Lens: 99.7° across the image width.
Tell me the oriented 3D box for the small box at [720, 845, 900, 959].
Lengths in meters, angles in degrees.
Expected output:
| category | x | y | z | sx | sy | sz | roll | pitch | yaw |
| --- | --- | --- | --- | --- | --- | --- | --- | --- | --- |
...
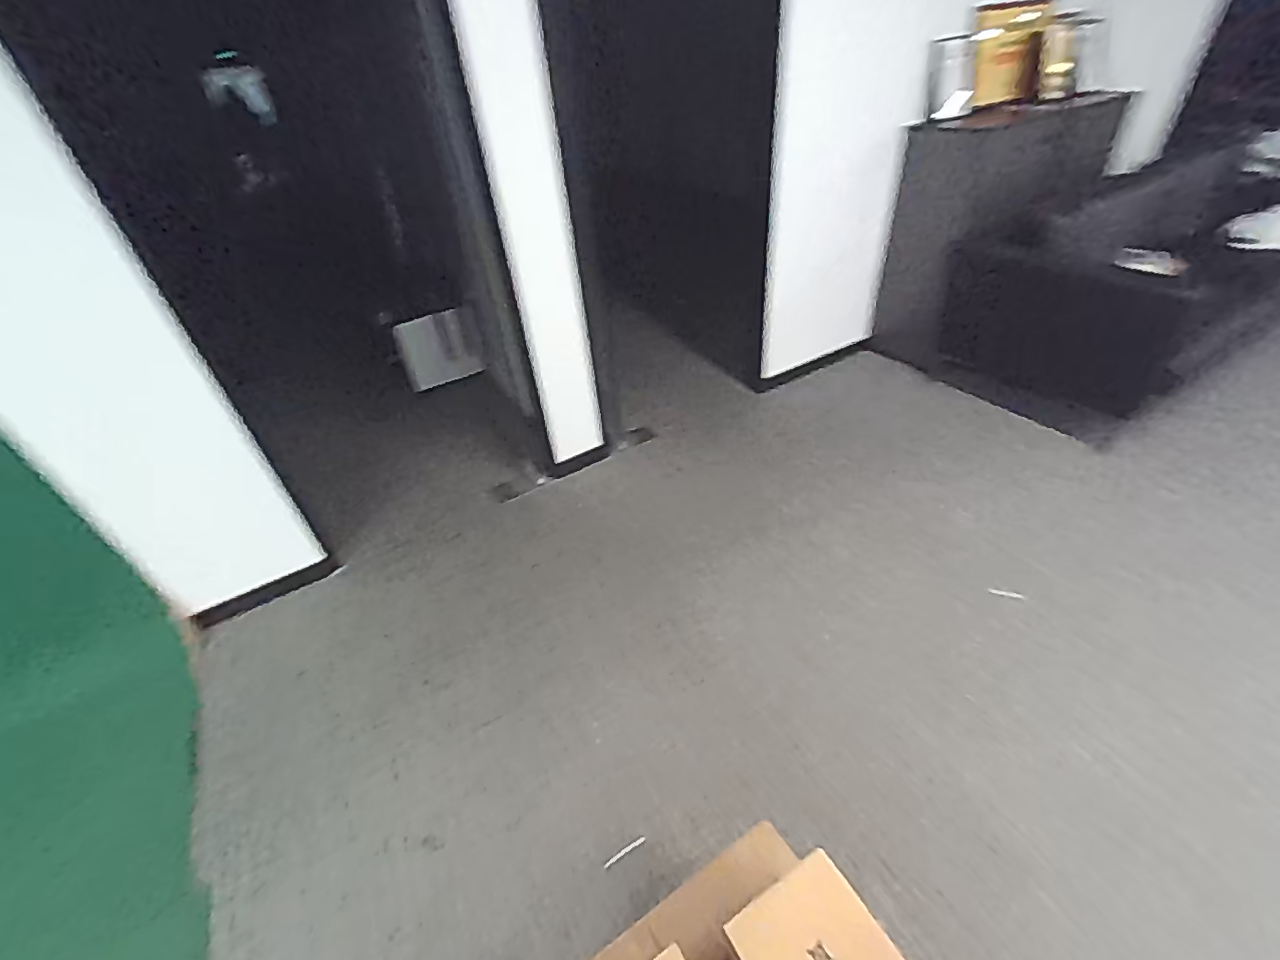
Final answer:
| category | x | y | z | sx | sy | sz | roll | pitch | yaw |
| --- | --- | --- | --- | --- | --- | --- | --- | --- | --- |
| small box | 0.215 | 0.627 | 0.695 | 0.168 | 0.176 | 0.179 | -24 | 43 | -20 |
